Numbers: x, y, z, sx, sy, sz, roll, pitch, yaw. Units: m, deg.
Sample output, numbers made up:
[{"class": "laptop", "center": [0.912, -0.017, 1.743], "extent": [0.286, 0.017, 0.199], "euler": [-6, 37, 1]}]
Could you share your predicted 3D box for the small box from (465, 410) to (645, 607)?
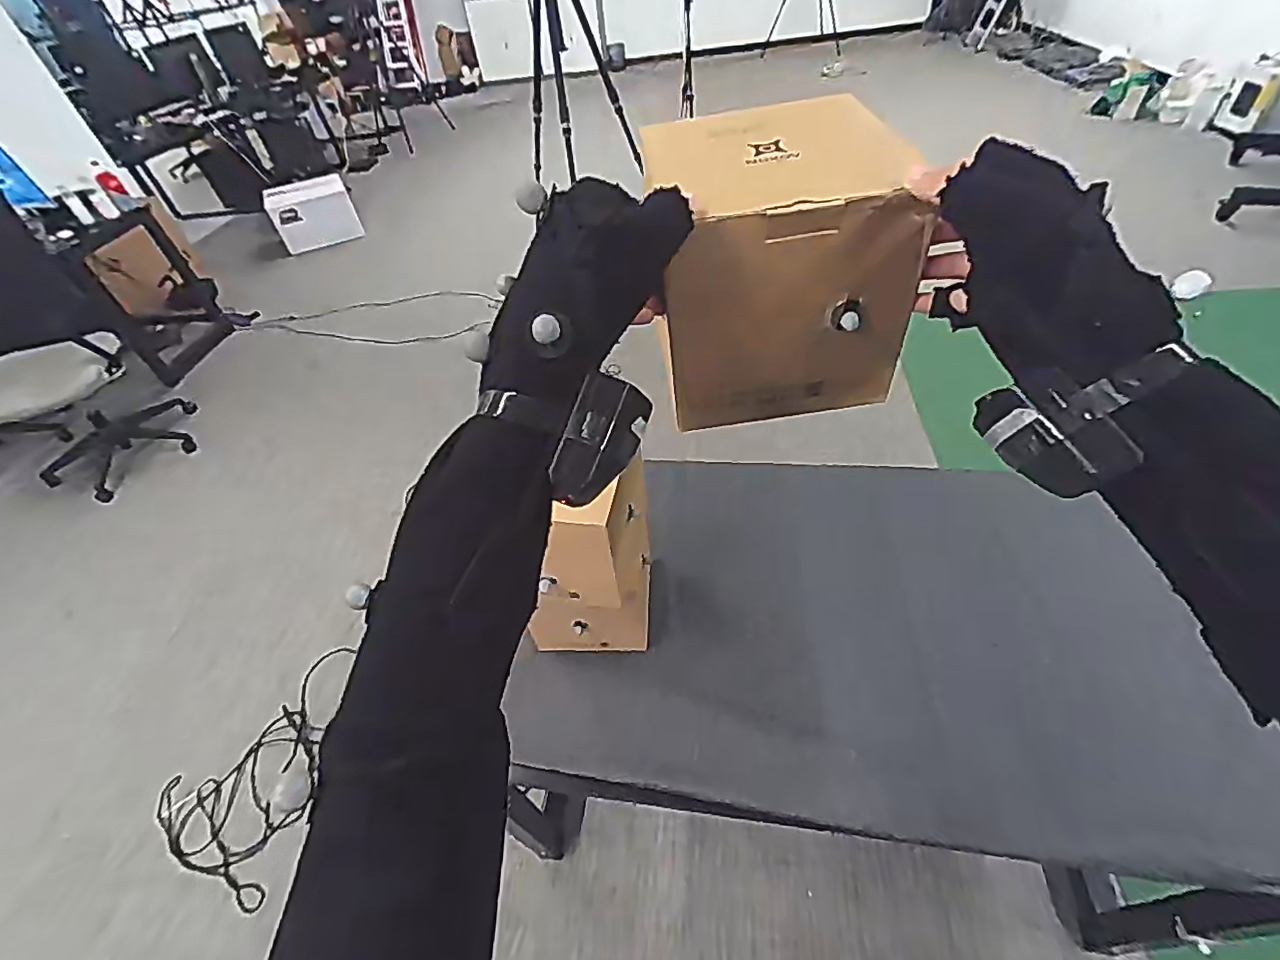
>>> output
[{"class": "small box", "center": [-0.090, 0.034, 0.683], "extent": [0.168, 0.176, 0.179], "euler": [4, 48, 11]}]

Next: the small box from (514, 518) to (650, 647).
[{"class": "small box", "center": [-0.073, 0.137, 0.811], "extent": [0.168, 0.176, 0.179], "euler": [-1, 46, 5]}]
